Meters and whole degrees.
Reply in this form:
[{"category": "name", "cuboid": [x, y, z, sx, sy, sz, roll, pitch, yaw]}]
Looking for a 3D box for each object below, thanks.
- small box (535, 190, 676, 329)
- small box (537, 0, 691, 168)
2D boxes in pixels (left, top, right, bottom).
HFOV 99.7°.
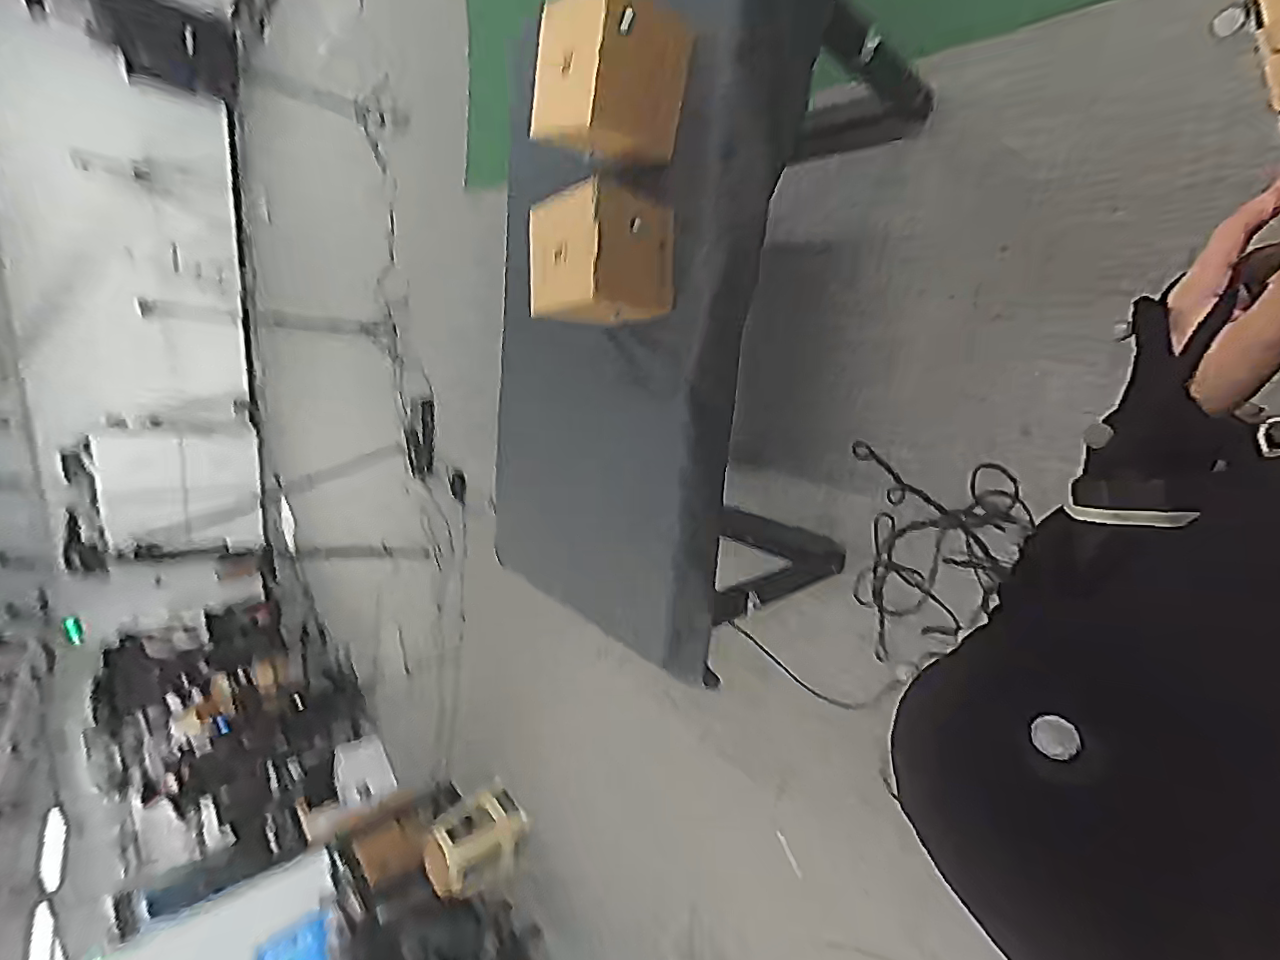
[{"category": "small box", "cuboid": [-0.055, -0.350, 0.895, 0.179, 0.176, 0.168, 7, 99, 48]}, {"category": "small box", "cuboid": [-0.041, -0.604, 0.846, 0.168, 0.176, 0.179, 27, 114, 43]}]
